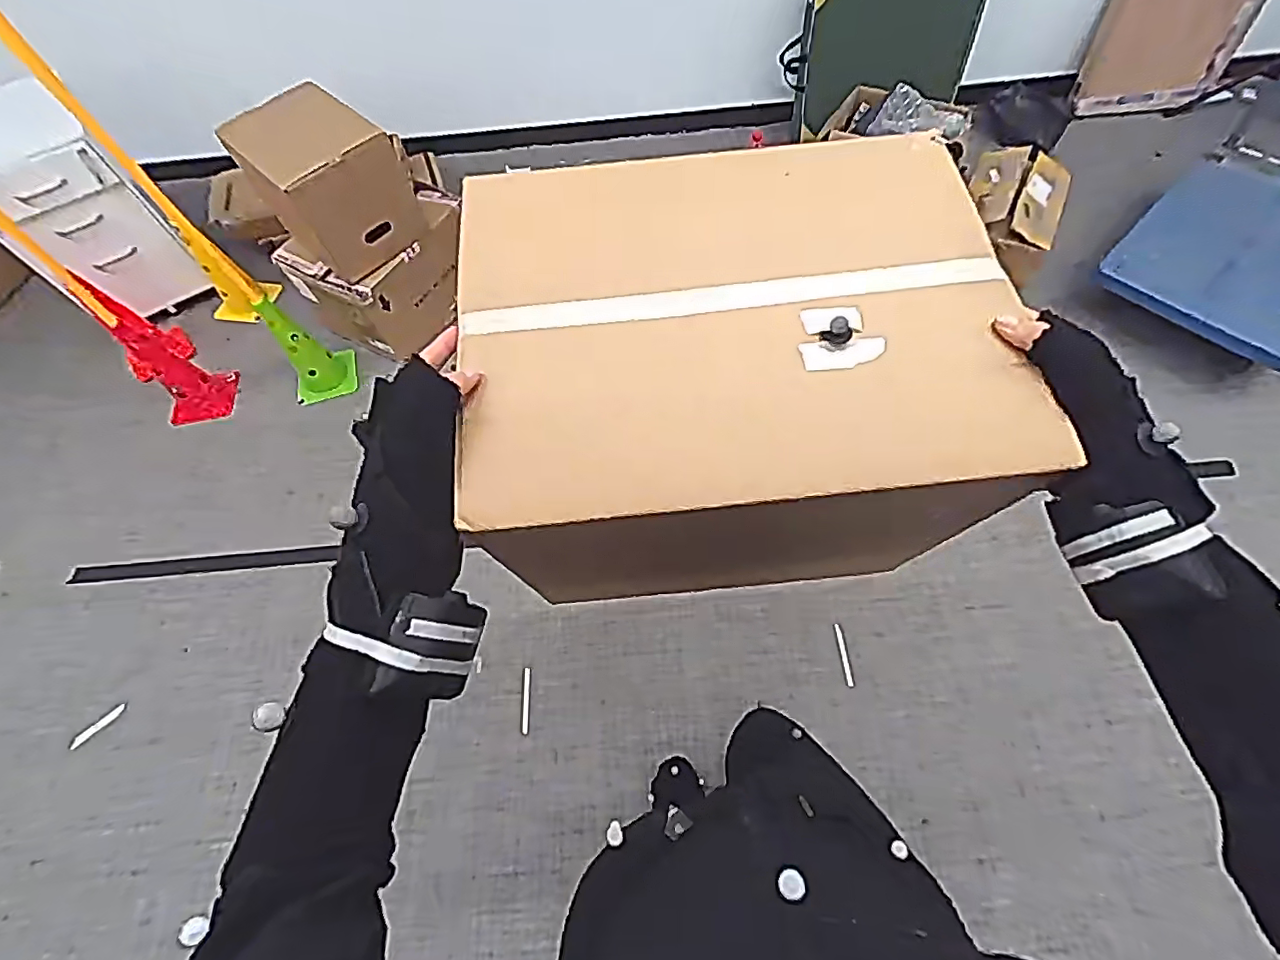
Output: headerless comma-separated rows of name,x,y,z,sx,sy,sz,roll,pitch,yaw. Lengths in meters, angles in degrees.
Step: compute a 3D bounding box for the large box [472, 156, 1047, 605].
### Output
large box,0.070,-0.071,0.559,0.408,0.320,0.320,-6,68,-1
